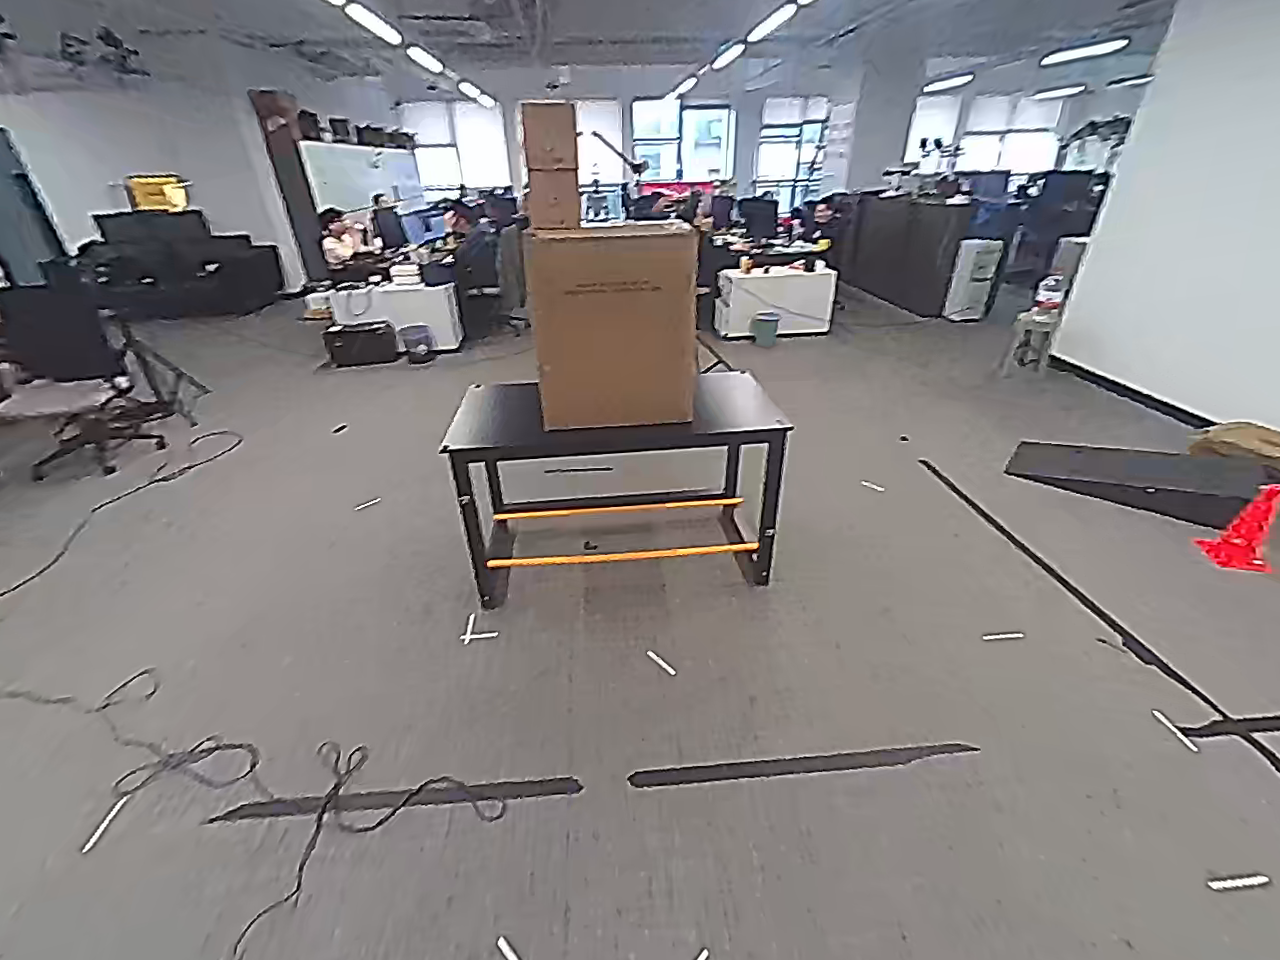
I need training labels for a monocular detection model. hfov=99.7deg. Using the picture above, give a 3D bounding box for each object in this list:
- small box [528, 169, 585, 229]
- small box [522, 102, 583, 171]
[{"bbox_3d":[-0.267,-0.916,1.760,0.168,0.176,0.179,-3,30,-5],"label":"small box"},{"bbox_3d":[-0.264,-1.051,1.664,0.168,0.176,0.179,-3,30,-3],"label":"small box"}]
